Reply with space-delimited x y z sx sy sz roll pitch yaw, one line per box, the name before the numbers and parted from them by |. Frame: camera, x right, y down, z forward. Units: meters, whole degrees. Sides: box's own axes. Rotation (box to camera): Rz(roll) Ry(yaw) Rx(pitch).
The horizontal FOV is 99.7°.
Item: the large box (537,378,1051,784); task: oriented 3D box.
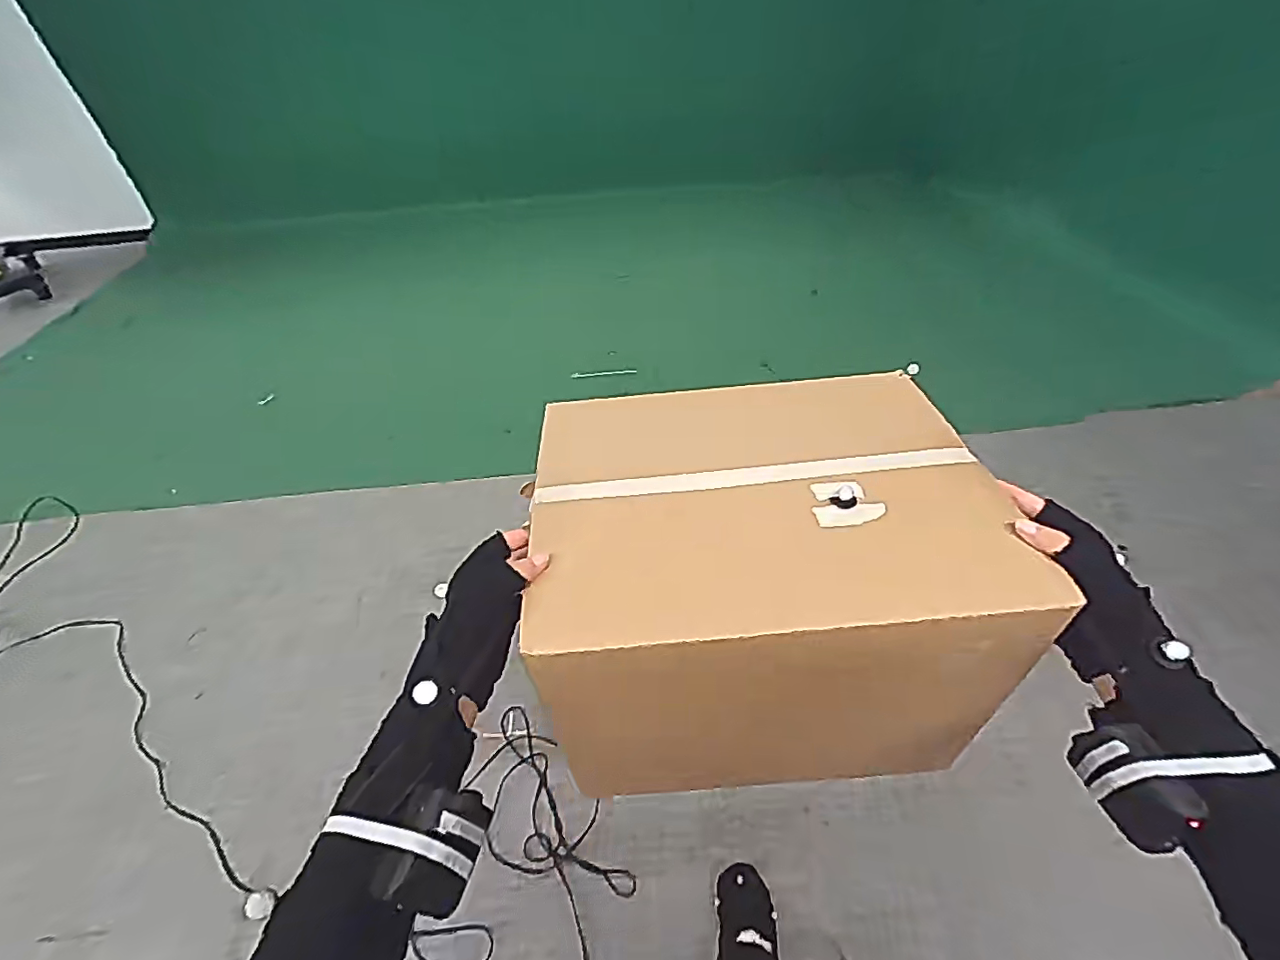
large box | 0.114 0.111 0.614 0.408 0.320 0.320 -5 43 -1
